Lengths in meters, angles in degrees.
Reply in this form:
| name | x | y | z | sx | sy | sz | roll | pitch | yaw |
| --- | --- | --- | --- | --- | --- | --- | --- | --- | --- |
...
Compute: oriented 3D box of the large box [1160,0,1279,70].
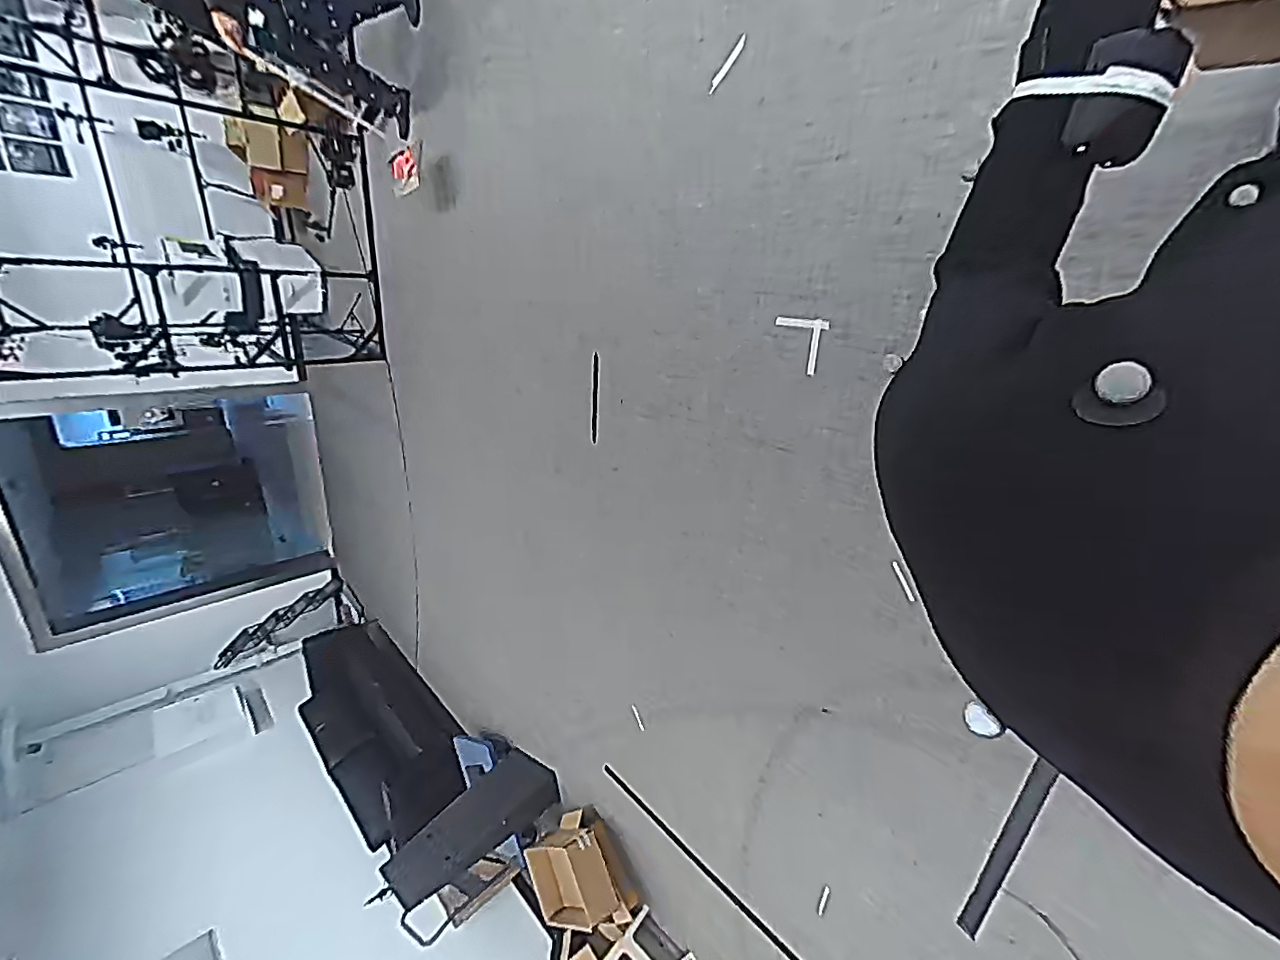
| name | x | y | z | sx | sy | sz | roll | pitch | yaw |
| --- | --- | --- | --- | --- | --- | --- | --- | --- | --- |
| large box | 0.579 | -0.432 | 0.253 | 0.408 | 0.320 | 0.320 | 25 | 128 | 40 |
